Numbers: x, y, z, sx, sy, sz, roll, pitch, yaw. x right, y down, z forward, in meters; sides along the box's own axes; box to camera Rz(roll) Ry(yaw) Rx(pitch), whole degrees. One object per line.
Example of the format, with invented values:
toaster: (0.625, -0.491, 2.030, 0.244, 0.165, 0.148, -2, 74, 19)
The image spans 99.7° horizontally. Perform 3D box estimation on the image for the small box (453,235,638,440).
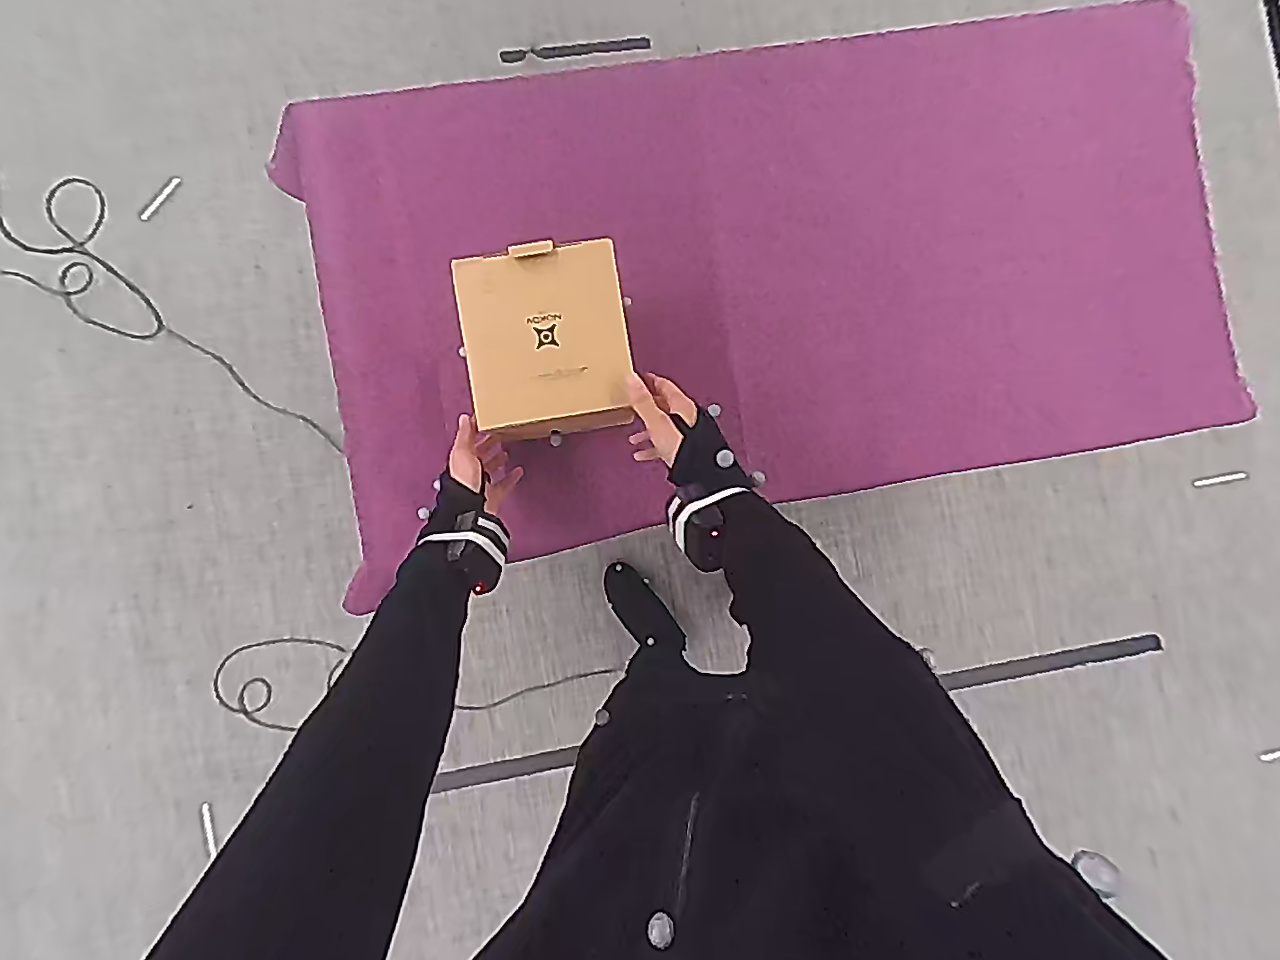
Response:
small box: (-0.098, -0.149, 0.616, 0.168, 0.176, 0.179, -9, 90, -3)
